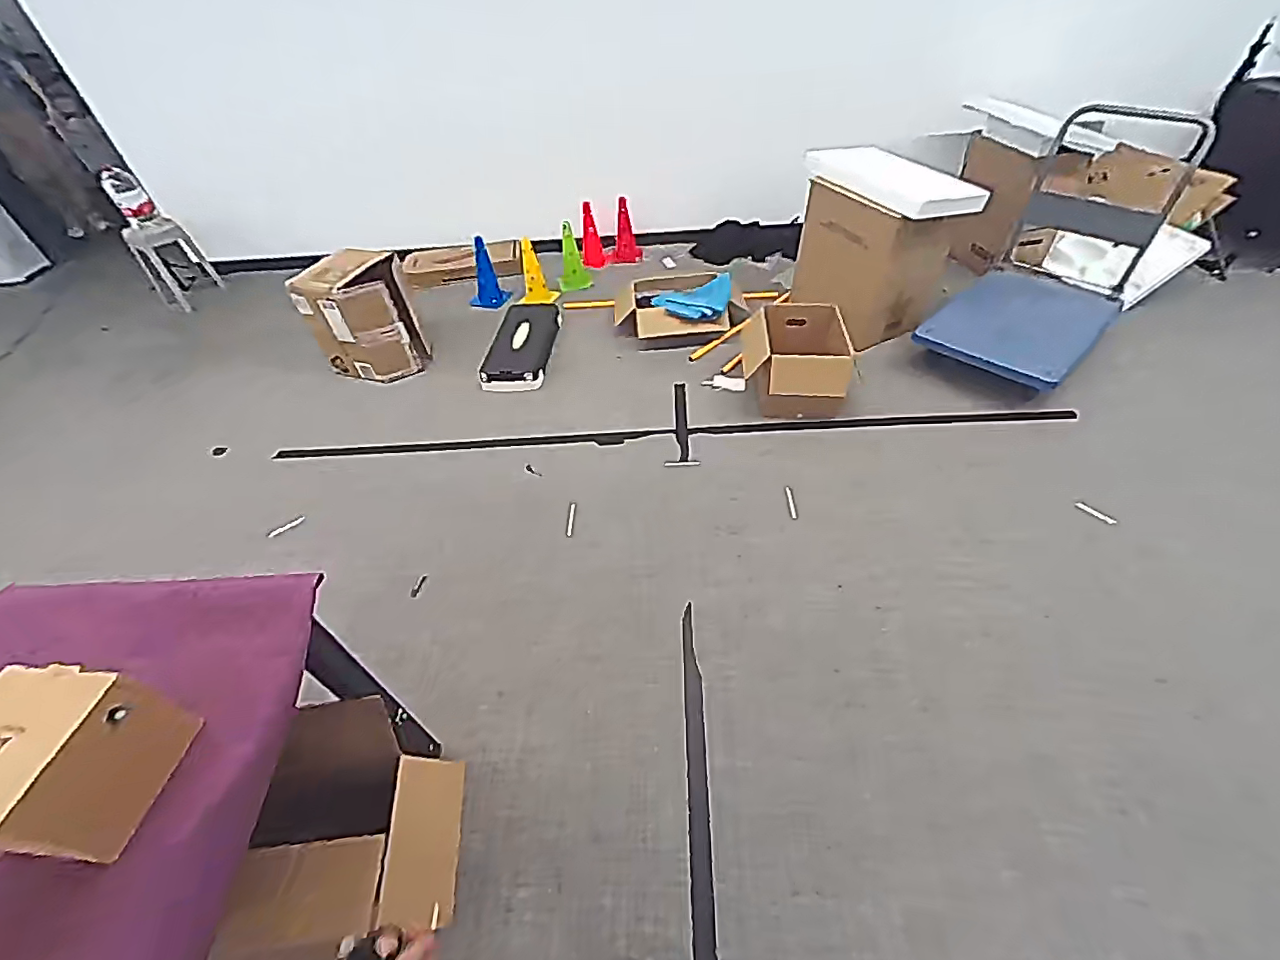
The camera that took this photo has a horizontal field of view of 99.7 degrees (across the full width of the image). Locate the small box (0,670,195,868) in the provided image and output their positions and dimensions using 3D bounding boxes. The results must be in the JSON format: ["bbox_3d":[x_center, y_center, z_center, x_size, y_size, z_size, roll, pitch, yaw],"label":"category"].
[{"bbox_3d":[-0.719,0.358,0.669,0.168,0.176,0.179,1,45,6],"label":"small box"}]
